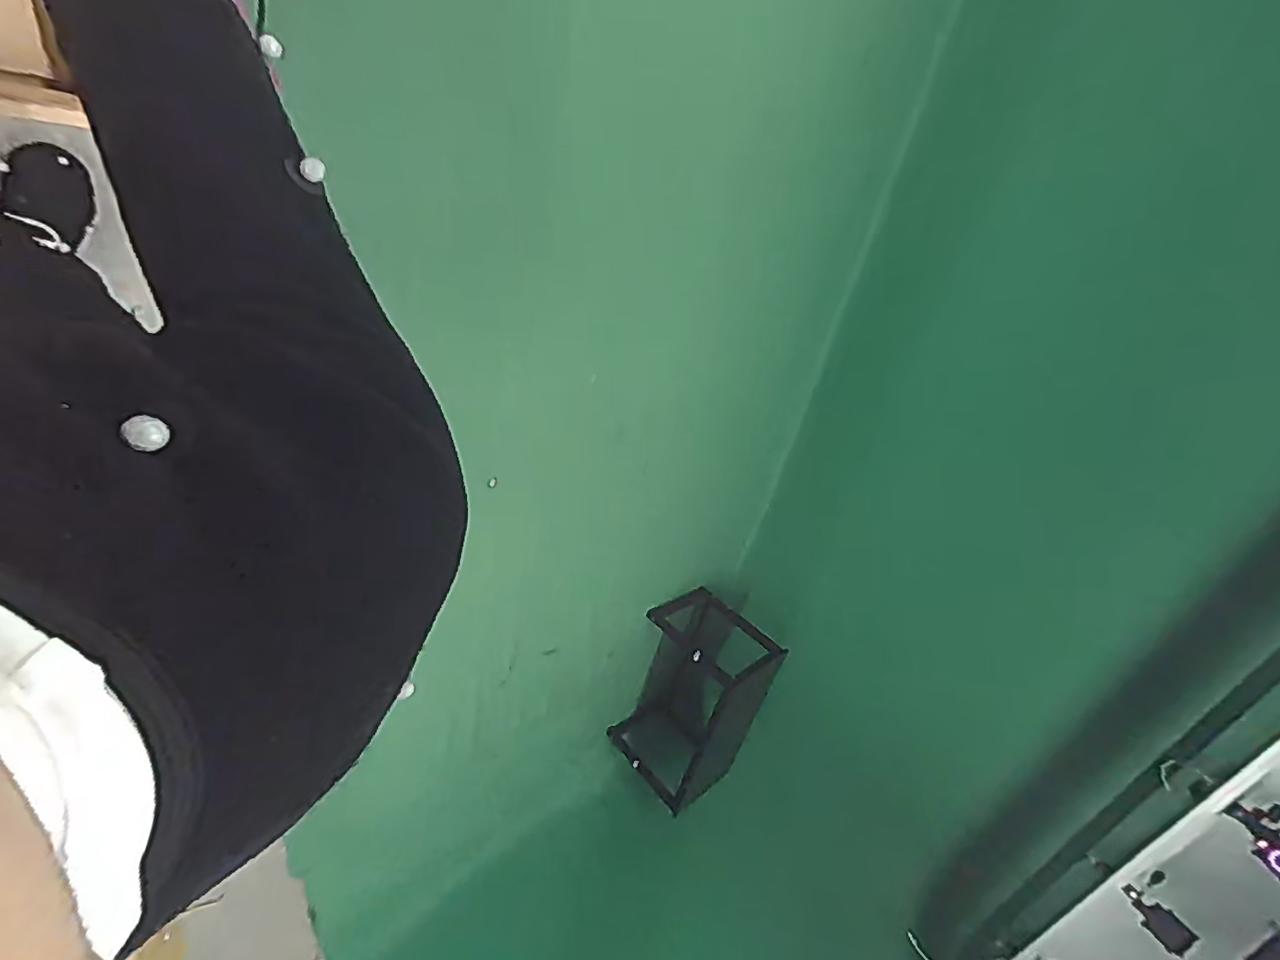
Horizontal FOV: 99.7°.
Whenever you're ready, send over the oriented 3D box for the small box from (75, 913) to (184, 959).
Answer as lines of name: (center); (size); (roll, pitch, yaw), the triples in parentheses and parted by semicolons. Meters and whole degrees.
small box: (-1.266, 1.220, 1.328); (0.179, 0.176, 0.168); (-39, 143, -21)
